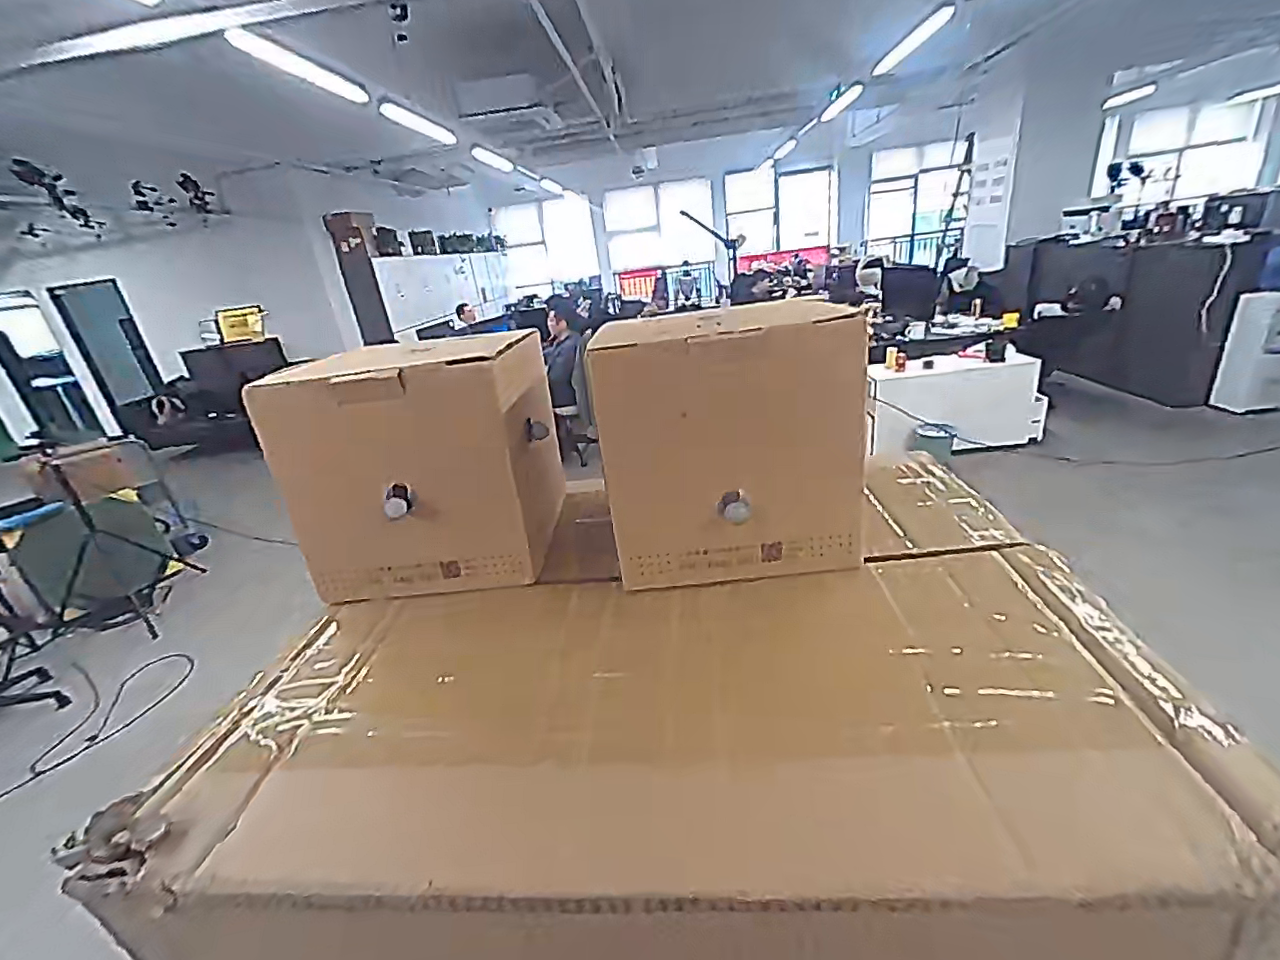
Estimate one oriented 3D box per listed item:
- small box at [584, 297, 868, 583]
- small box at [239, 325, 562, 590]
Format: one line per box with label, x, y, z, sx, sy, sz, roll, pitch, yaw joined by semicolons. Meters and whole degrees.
small box;0.060;-0.040;0.415;0.168;0.176;0.179;-7;21;4
small box;-0.165;-0.022;0.446;0.168;0.176;0.179;-6;22;2
